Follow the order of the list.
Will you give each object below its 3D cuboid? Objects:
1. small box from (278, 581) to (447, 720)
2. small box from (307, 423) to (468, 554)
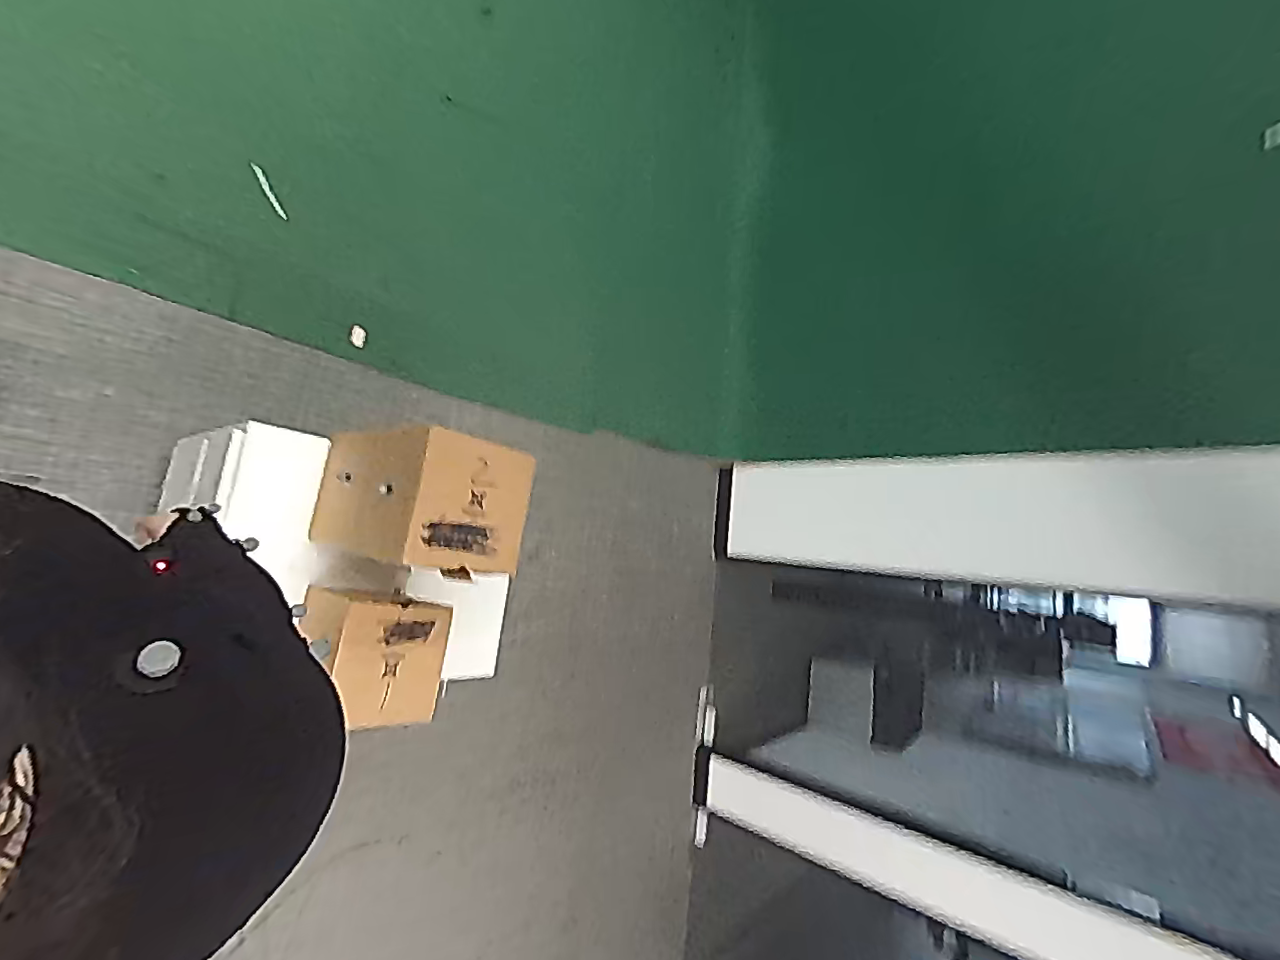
[{"bbox_3d":[-0.435,0.258,0.848,0.168,0.176,0.179,21,74,-48],"label":"small box"},{"bbox_3d":[-0.410,0.017,0.876,0.168,0.176,0.179,18,77,-48],"label":"small box"}]
